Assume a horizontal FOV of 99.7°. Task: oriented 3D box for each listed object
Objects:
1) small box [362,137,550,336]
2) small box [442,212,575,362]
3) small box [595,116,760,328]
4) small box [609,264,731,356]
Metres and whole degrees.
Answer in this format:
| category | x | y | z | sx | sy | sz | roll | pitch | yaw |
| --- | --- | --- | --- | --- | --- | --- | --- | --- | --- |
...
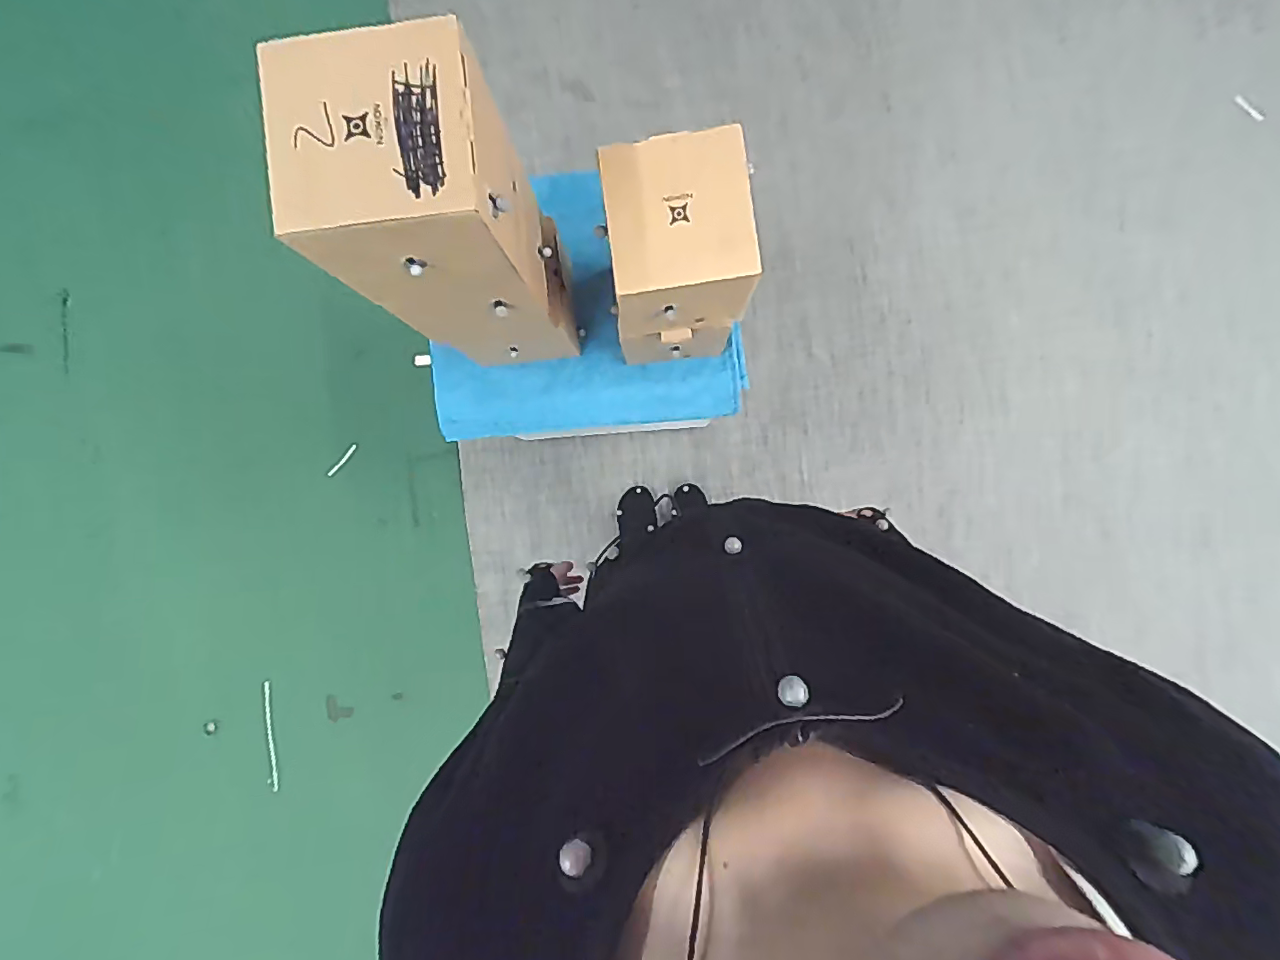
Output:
| category | x | y | z | sx | sy | sz | roll | pitch | yaw |
| --- | --- | --- | --- | --- | --- | --- | --- | --- | --- |
| small box | -0.214 | -0.290 | 0.678 | 0.179 | 0.176 | 0.168 | -6 | 88 | 2 |
| small box | -0.200 | -0.289 | 0.842 | 0.179 | 0.176 | 0.168 | -6 | 89 | 2 |
| small box | 0.045 | -0.301 | 0.672 | 0.168 | 0.176 | 0.179 | -8 | 87 | 2 |
| small box | 0.044 | -0.295 | 0.835 | 0.168 | 0.176 | 0.179 | -6 | 89 | 2 |
